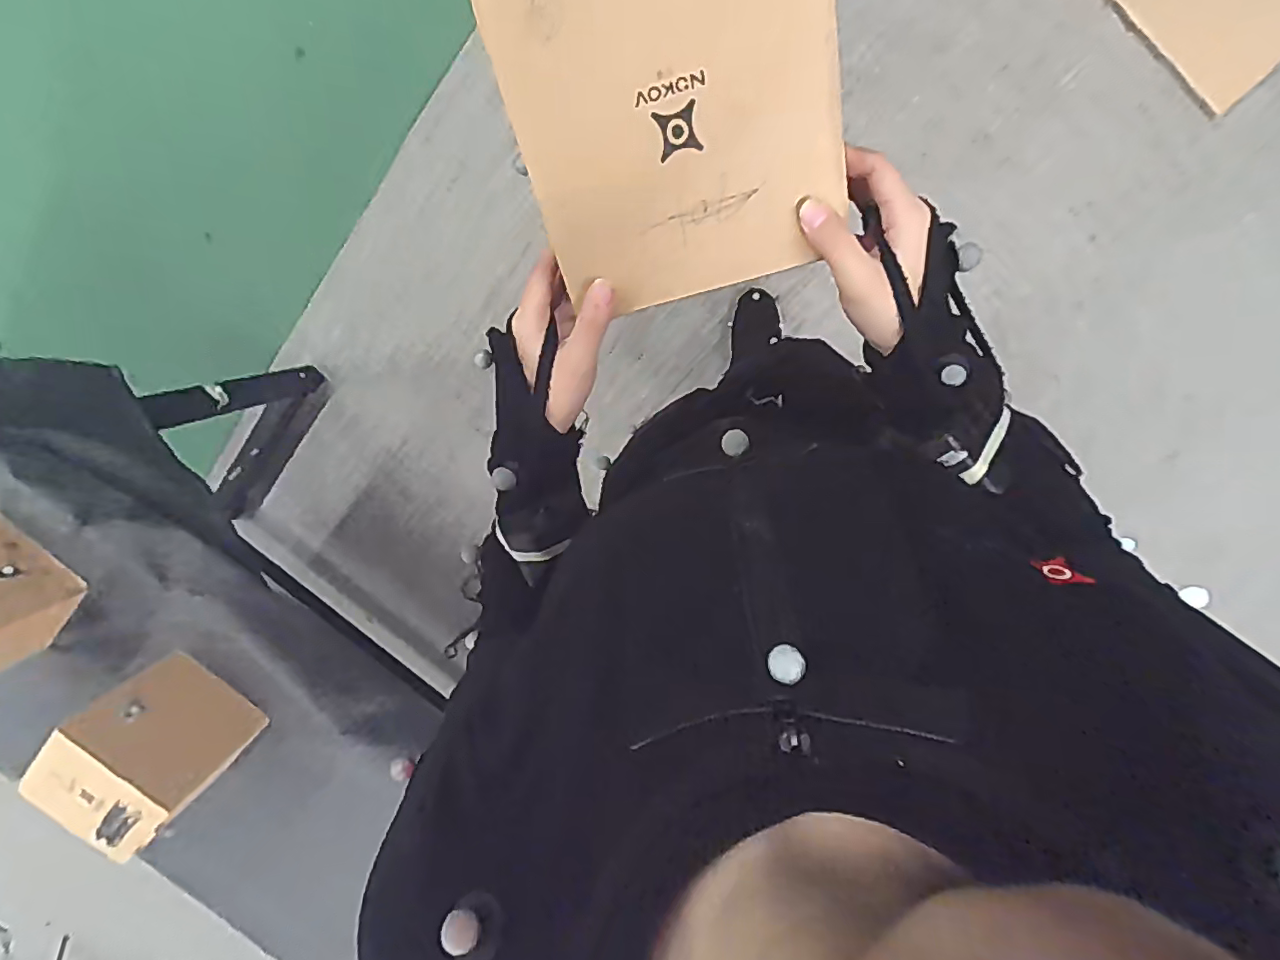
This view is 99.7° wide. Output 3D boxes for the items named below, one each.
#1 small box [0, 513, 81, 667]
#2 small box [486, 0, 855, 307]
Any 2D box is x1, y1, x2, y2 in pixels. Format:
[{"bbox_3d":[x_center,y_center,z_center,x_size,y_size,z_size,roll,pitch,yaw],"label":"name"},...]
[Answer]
[{"bbox_3d":[-0.937,0.176,0.735,0.179,0.176,0.168,-41,100,18],"label":"small box"},{"bbox_3d":[0.023,-0.233,0.339,0.168,0.176,0.179,-11,122,10],"label":"small box"}]
